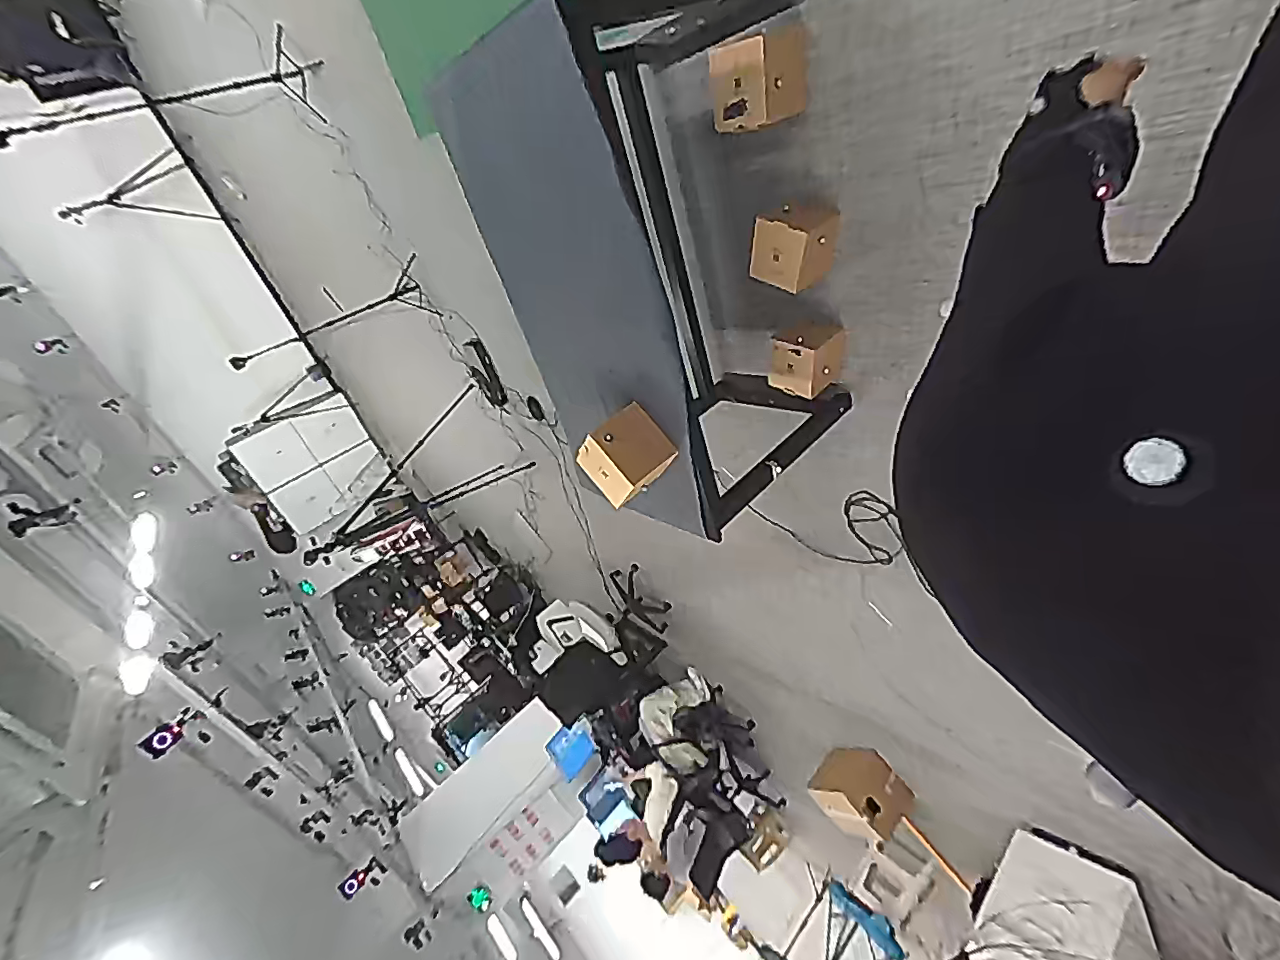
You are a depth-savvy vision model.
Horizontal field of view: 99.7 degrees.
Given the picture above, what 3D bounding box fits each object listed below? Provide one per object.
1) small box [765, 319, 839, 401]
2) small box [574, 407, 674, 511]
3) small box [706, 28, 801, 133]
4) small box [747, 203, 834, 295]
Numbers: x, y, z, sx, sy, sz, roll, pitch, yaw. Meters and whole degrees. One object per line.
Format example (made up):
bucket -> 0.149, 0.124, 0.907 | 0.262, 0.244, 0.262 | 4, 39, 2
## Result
small box -> 0.518, -0.387, 1.731 | 0.168, 0.176, 0.179 | 29, 145, 36
small box -> -0.040, -0.055, 1.394 | 0.179, 0.176, 0.168 | 49, 152, 6
small box -> 0.290, -0.998, 1.356 | 0.168, 0.176, 0.179 | 24, 140, 41
small box -> 0.429, -0.663, 1.541 | 0.168, 0.176, 0.179 | 35, 149, 30
